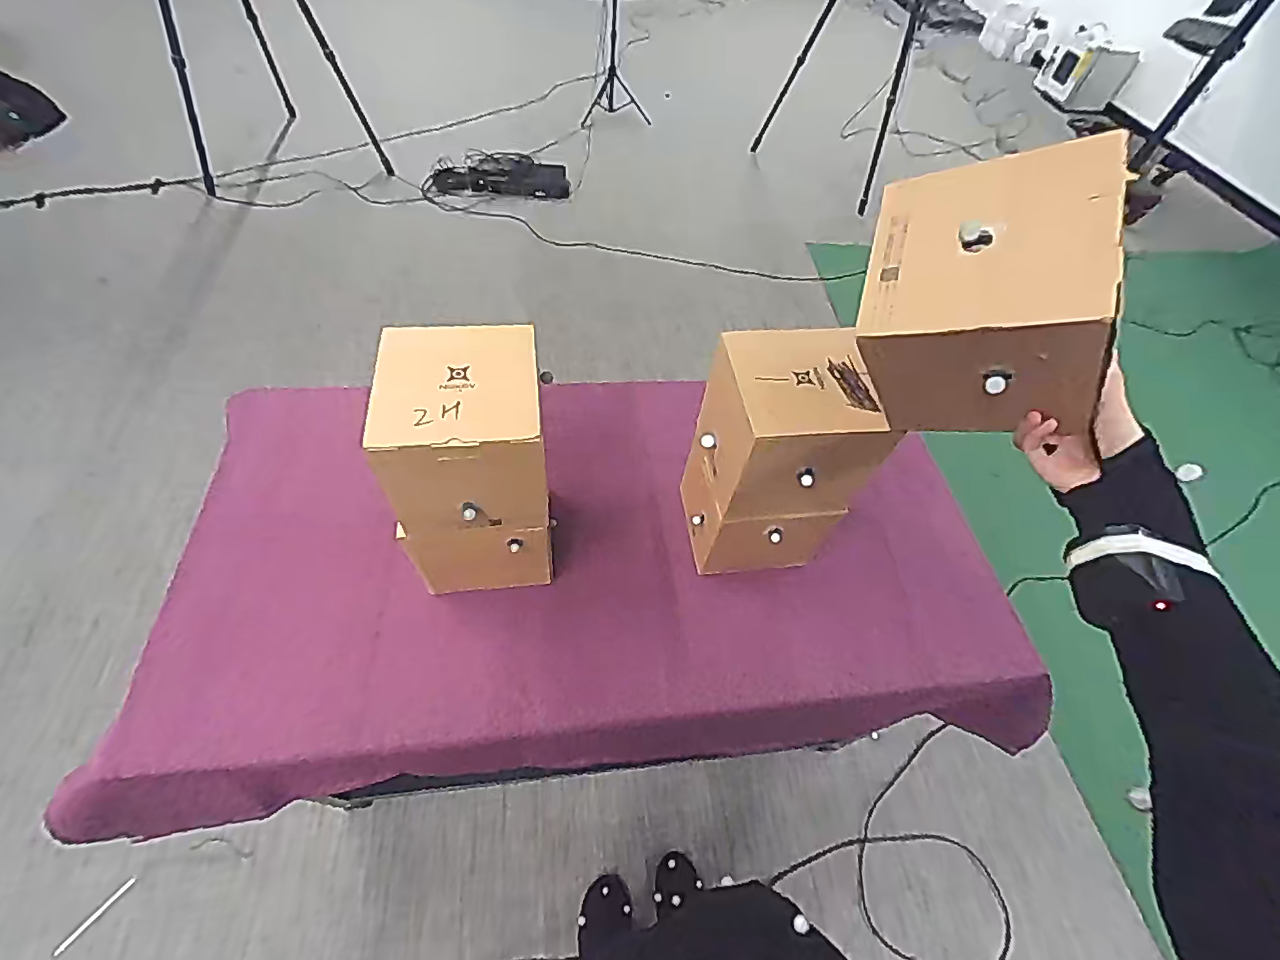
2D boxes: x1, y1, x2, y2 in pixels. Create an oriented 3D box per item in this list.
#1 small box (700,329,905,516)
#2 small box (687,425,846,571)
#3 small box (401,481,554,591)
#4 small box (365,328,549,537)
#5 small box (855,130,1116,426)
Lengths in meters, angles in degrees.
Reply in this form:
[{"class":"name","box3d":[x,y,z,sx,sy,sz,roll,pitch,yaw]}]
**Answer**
[{"class":"small box","box3d":[0.185,-0.068,0.678,0.179,0.176,0.168,-4,55,-7]},{"class":"small box","box3d":[0.172,0.028,0.811,0.179,0.176,0.168,-3,56,-8]},{"class":"small box","box3d":[-0.216,0.045,0.760,0.179,0.176,0.168,-4,55,-10]},{"class":"small box","box3d":[-0.195,-0.054,0.629,0.168,0.176,0.179,-4,54,-8]},{"class":"small box","box3d":[0.306,-0.155,0.485,0.176,0.179,0.168,4,71,38]}]
